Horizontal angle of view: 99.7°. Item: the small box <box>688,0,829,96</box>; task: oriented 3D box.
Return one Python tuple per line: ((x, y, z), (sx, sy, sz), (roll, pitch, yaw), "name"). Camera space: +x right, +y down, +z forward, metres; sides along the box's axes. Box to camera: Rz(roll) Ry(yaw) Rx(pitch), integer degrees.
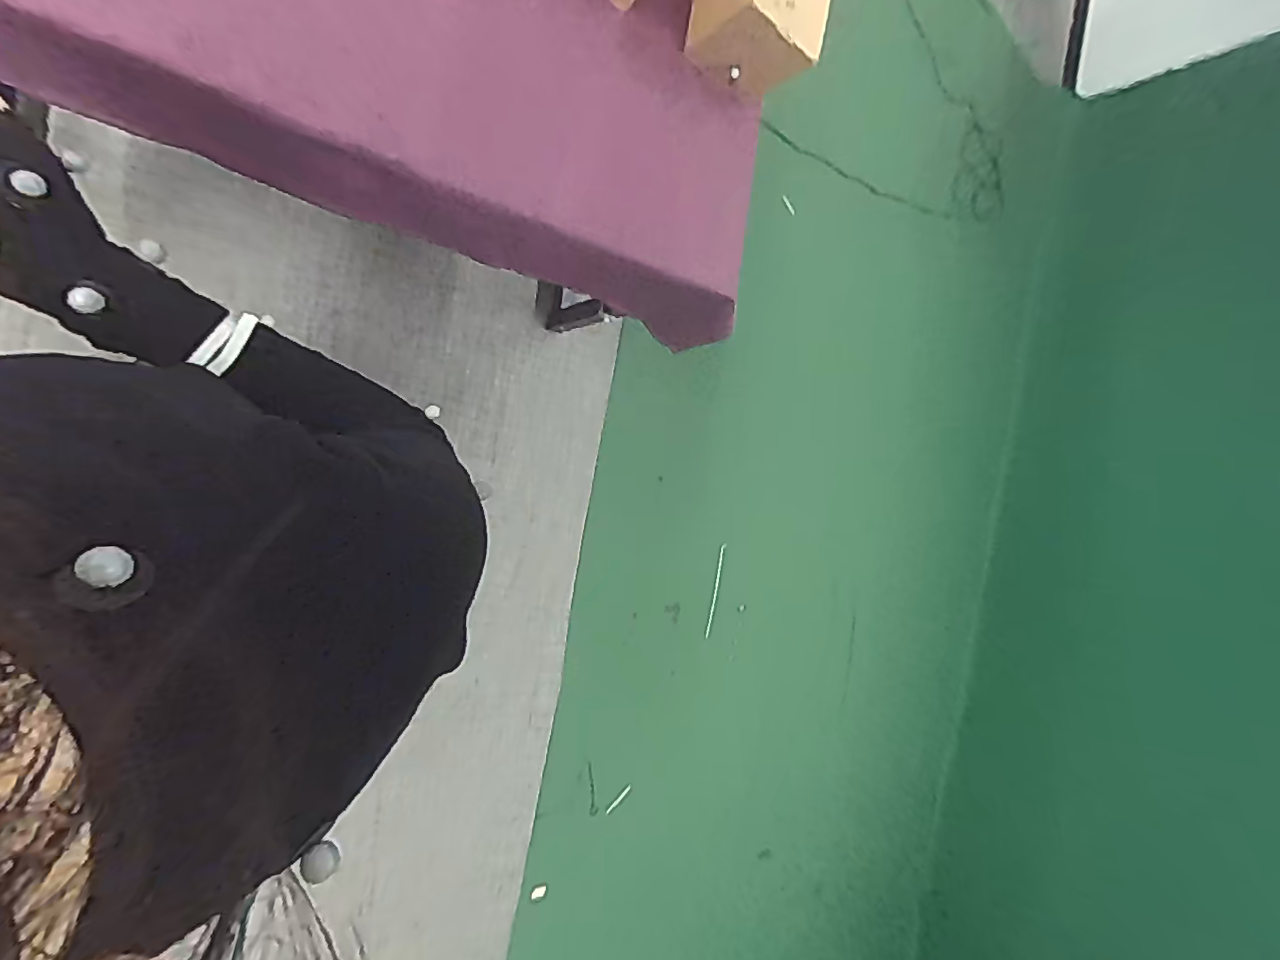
((0.202, -0.811, 0.919), (0.168, 0.176, 0.179), (9, 94, -35), "small box")
